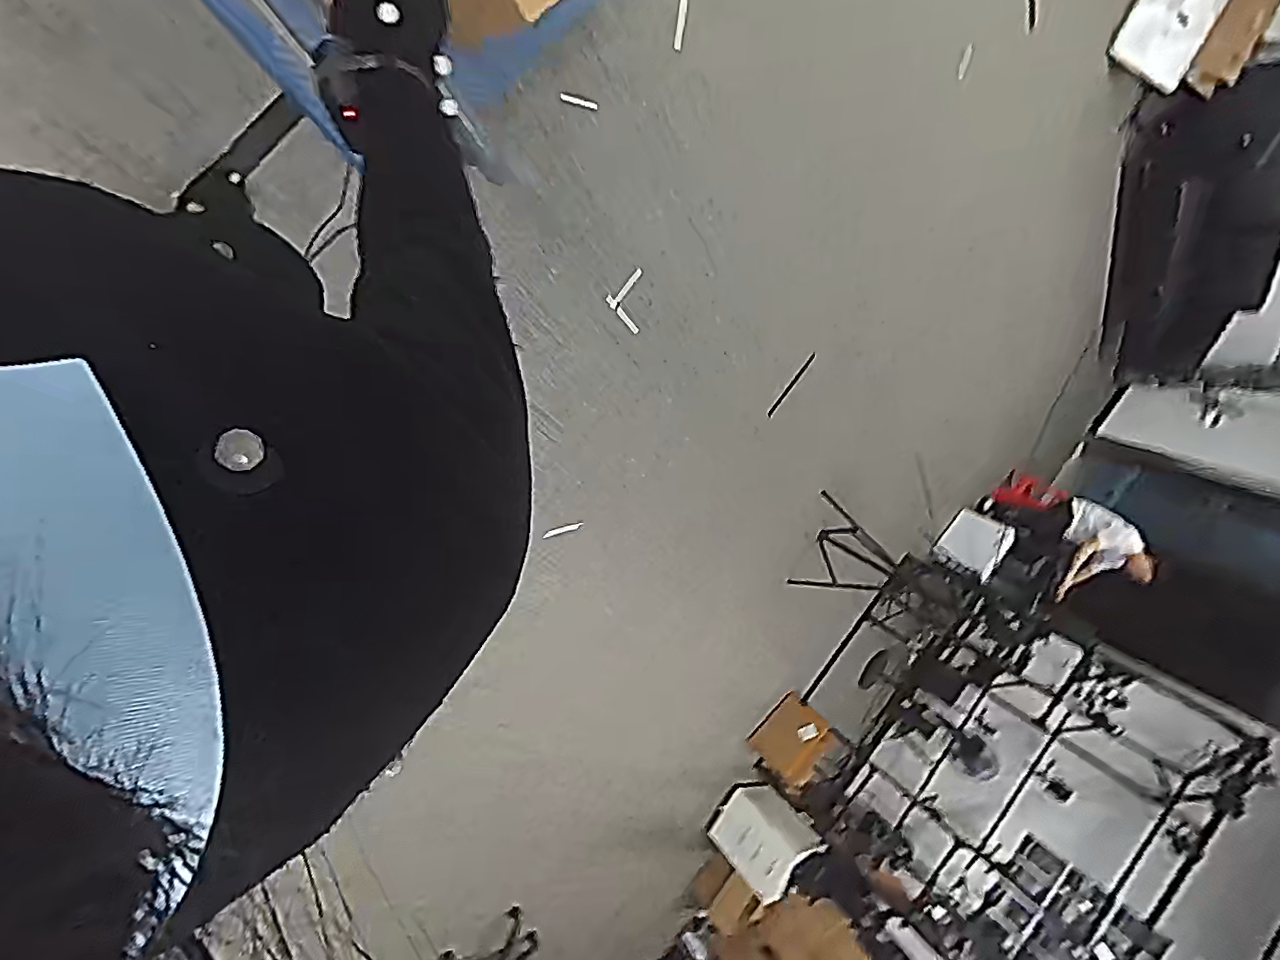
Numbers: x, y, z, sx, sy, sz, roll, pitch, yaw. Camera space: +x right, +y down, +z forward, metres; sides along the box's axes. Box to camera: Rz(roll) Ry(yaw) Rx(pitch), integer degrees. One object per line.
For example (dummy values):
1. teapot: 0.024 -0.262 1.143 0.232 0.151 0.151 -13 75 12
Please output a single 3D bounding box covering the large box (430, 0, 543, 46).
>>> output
1. large box: -0.261 -1.016 0.849 0.320 0.320 0.408 -49 134 -9
